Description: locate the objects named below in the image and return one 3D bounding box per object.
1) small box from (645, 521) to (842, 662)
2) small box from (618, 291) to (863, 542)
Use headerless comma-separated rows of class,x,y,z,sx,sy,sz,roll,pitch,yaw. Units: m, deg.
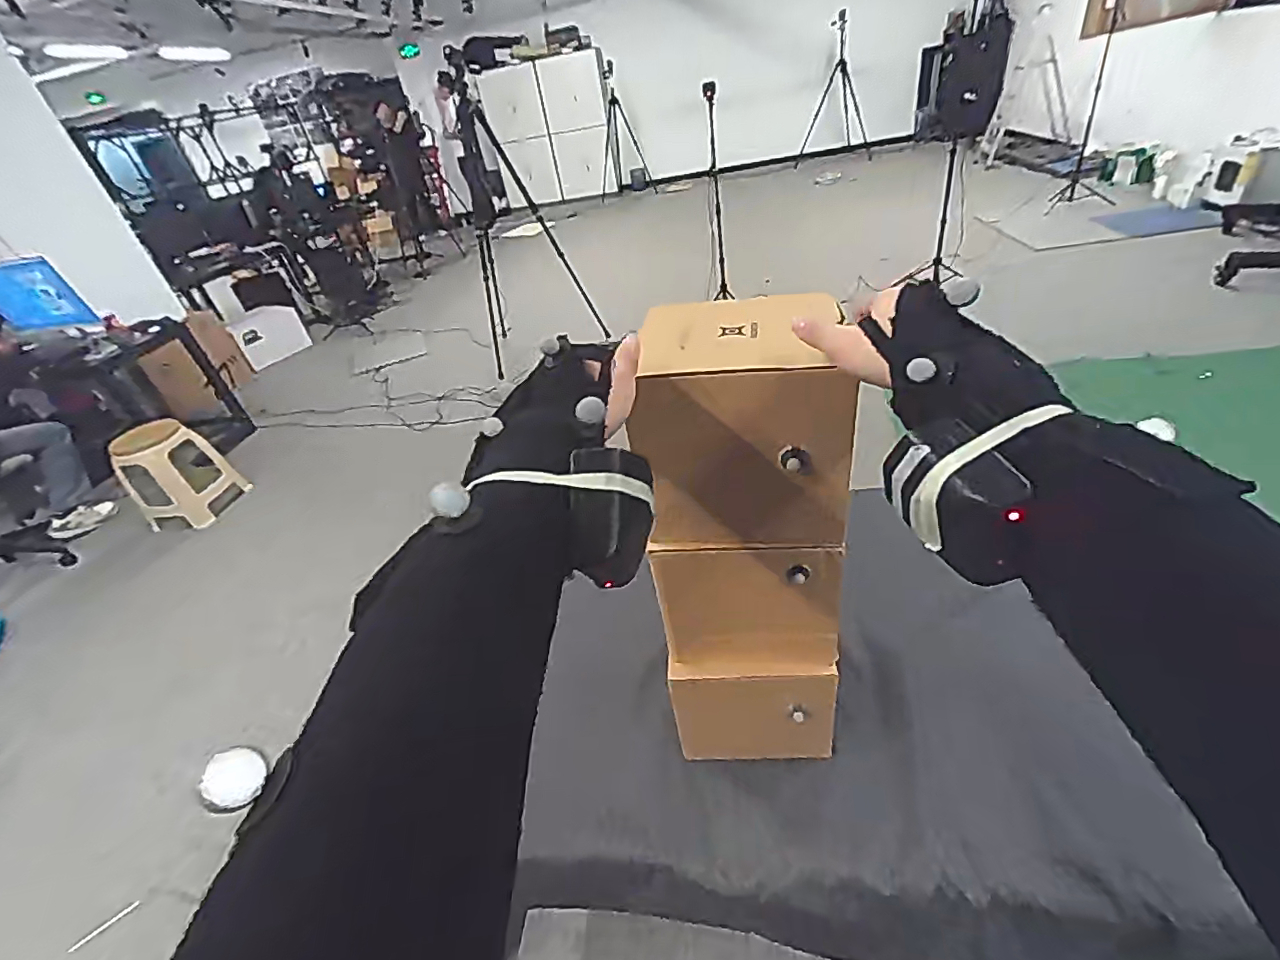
small box,0.111,0.079,0.583,0.179,0.176,0.168,-3,36,10
small box,0.092,-0.056,0.493,0.179,0.176,0.168,-2,34,13
